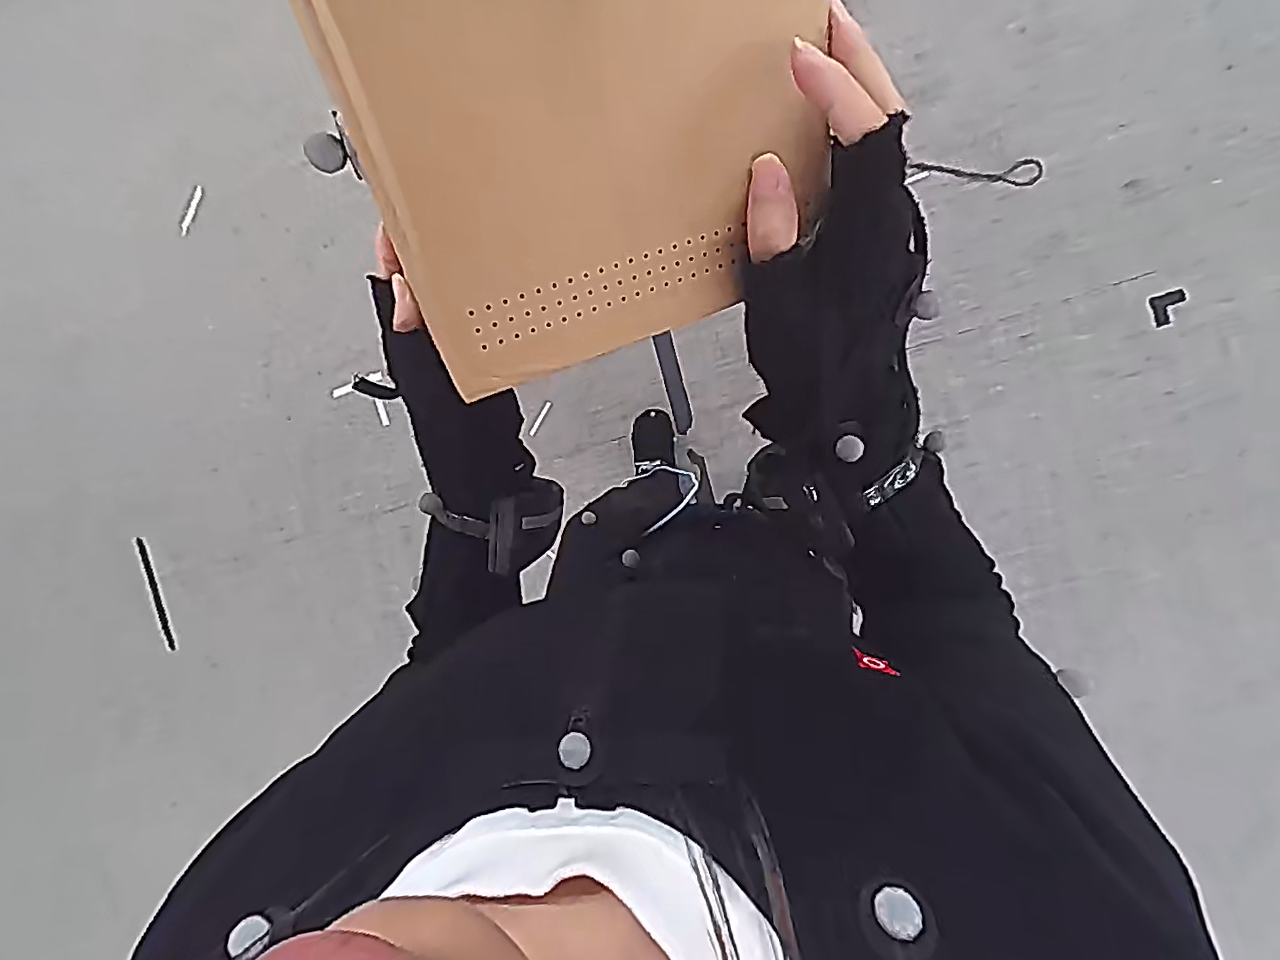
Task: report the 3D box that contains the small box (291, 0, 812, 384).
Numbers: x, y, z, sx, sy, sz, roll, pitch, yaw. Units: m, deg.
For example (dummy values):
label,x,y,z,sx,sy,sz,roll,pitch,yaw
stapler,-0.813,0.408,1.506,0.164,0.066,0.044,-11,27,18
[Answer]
label,x,y,z,sx,sy,sz,roll,pitch,yaw
small box,-0.037,-0.163,0.251,0.179,0.168,0.176,-23,125,-14
